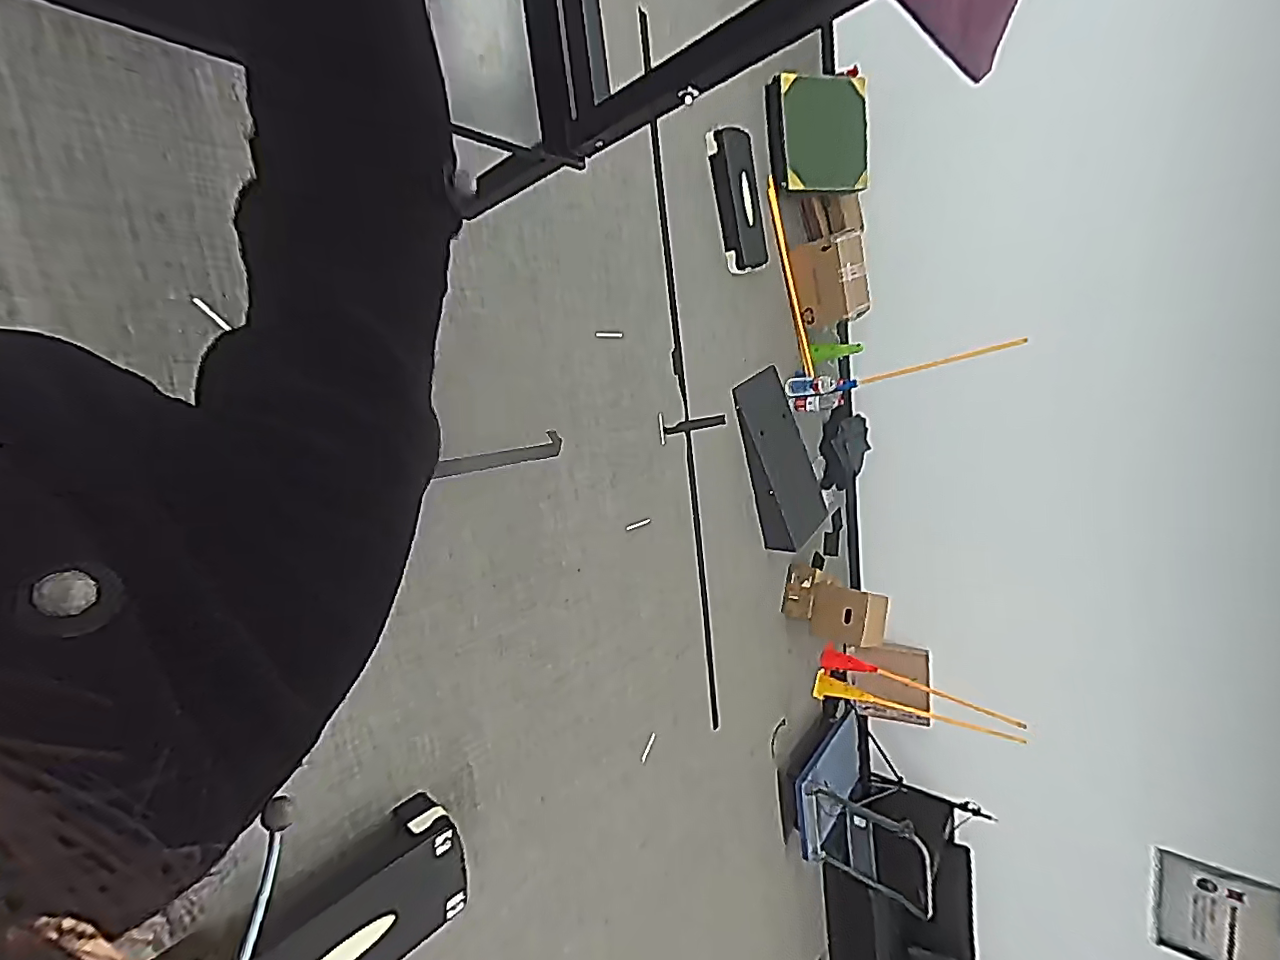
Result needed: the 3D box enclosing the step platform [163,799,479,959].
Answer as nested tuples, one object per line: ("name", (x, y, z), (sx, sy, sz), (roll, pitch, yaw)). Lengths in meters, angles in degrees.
("step platform", (-0.744, 1.127, 1.362), (0.684, 0.204, 0.286), (-8, 97, -49))
